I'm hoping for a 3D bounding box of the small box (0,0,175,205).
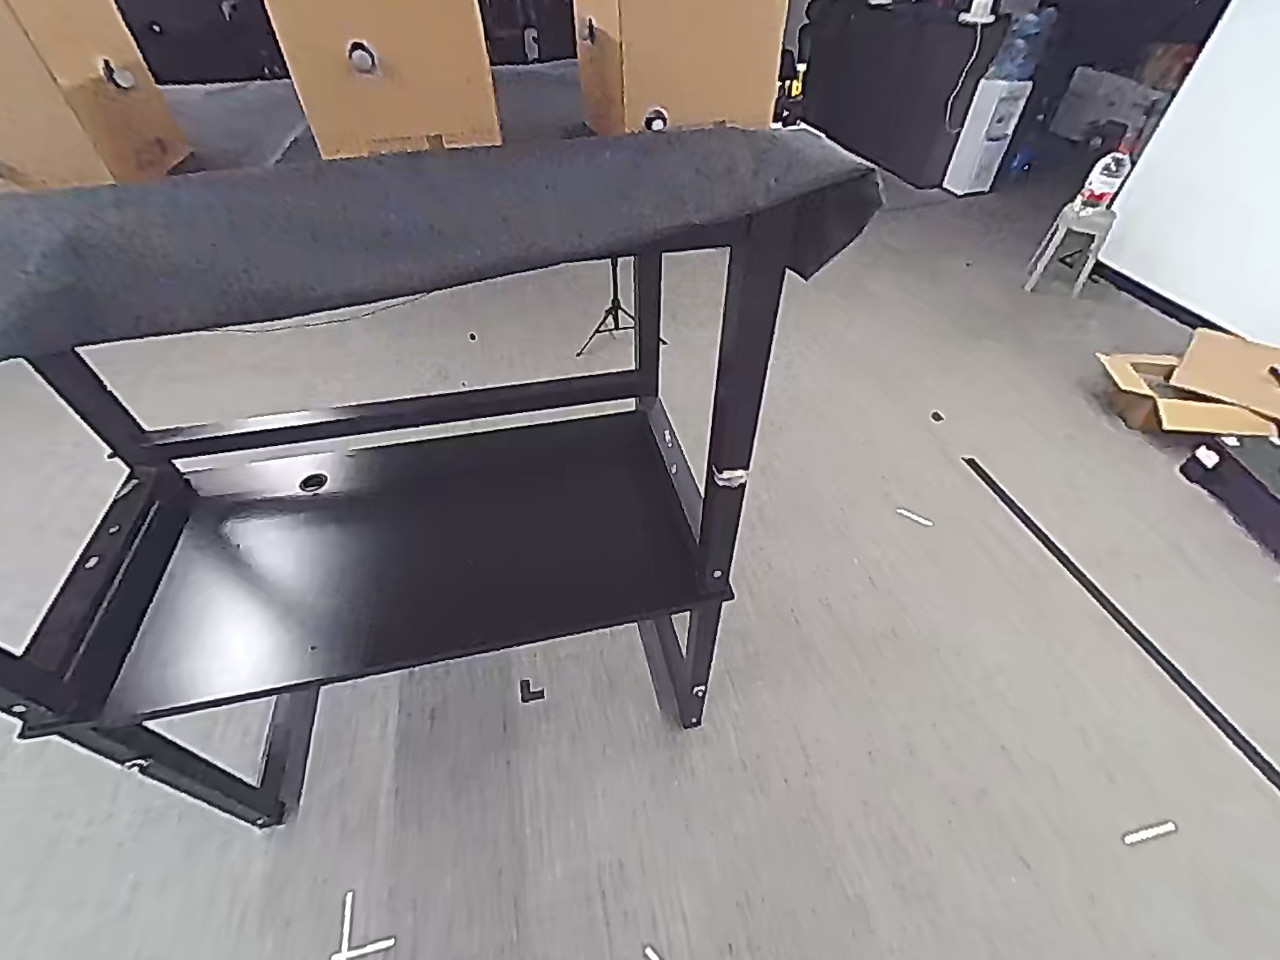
[{"bbox_3d":[-0.550,-0.339,0.451,0.179,0.176,0.168,-10,45,-10],"label":"small box"}]

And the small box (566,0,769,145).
[{"bbox_3d":[0.025,-0.462,0.561,0.168,0.176,0.179,-14,46,-12],"label":"small box"}]

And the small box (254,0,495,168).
[{"bbox_3d":[-0.244,-0.416,0.525,0.168,0.176,0.179,-12,46,-10],"label":"small box"}]
